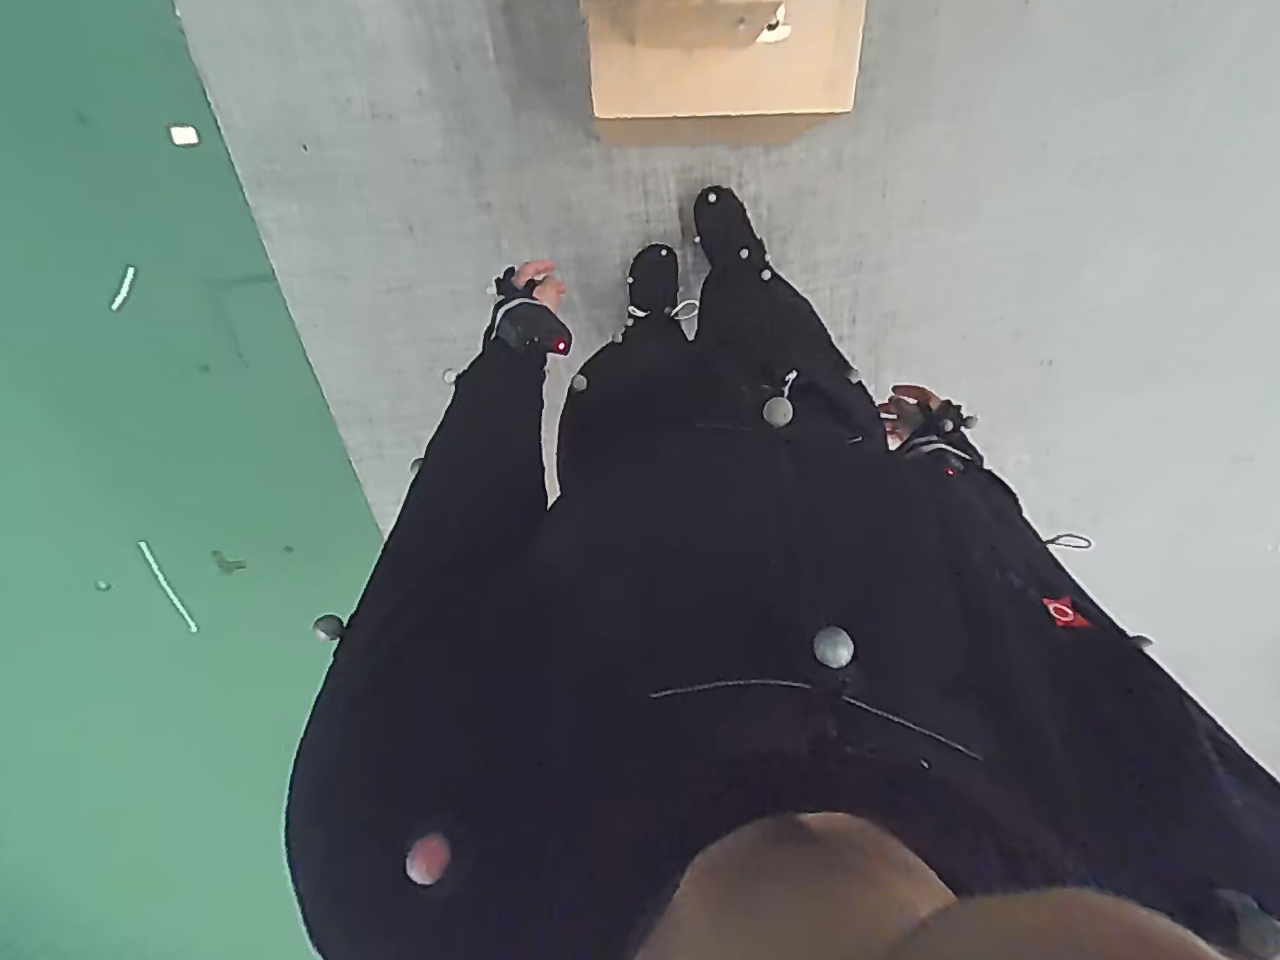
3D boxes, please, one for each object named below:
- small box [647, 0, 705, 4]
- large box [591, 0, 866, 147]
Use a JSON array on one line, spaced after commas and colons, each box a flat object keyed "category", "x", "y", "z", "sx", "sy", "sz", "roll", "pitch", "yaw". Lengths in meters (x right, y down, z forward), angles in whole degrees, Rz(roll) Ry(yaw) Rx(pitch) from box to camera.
[{"category": "small box", "x": 0.085, "y": -0.606, "z": 0.529, "sx": 0.179, "sy": 0.176, "sz": 0.168, "roll": -5, "pitch": 114, "yaw": 1}, {"category": "large box", "x": 0.122, "y": -0.767, "z": 0.904, "sx": 0.408, "sy": 0.320, "sz": 0.320, "roll": -3, "pitch": 116, "yaw": -1}]
